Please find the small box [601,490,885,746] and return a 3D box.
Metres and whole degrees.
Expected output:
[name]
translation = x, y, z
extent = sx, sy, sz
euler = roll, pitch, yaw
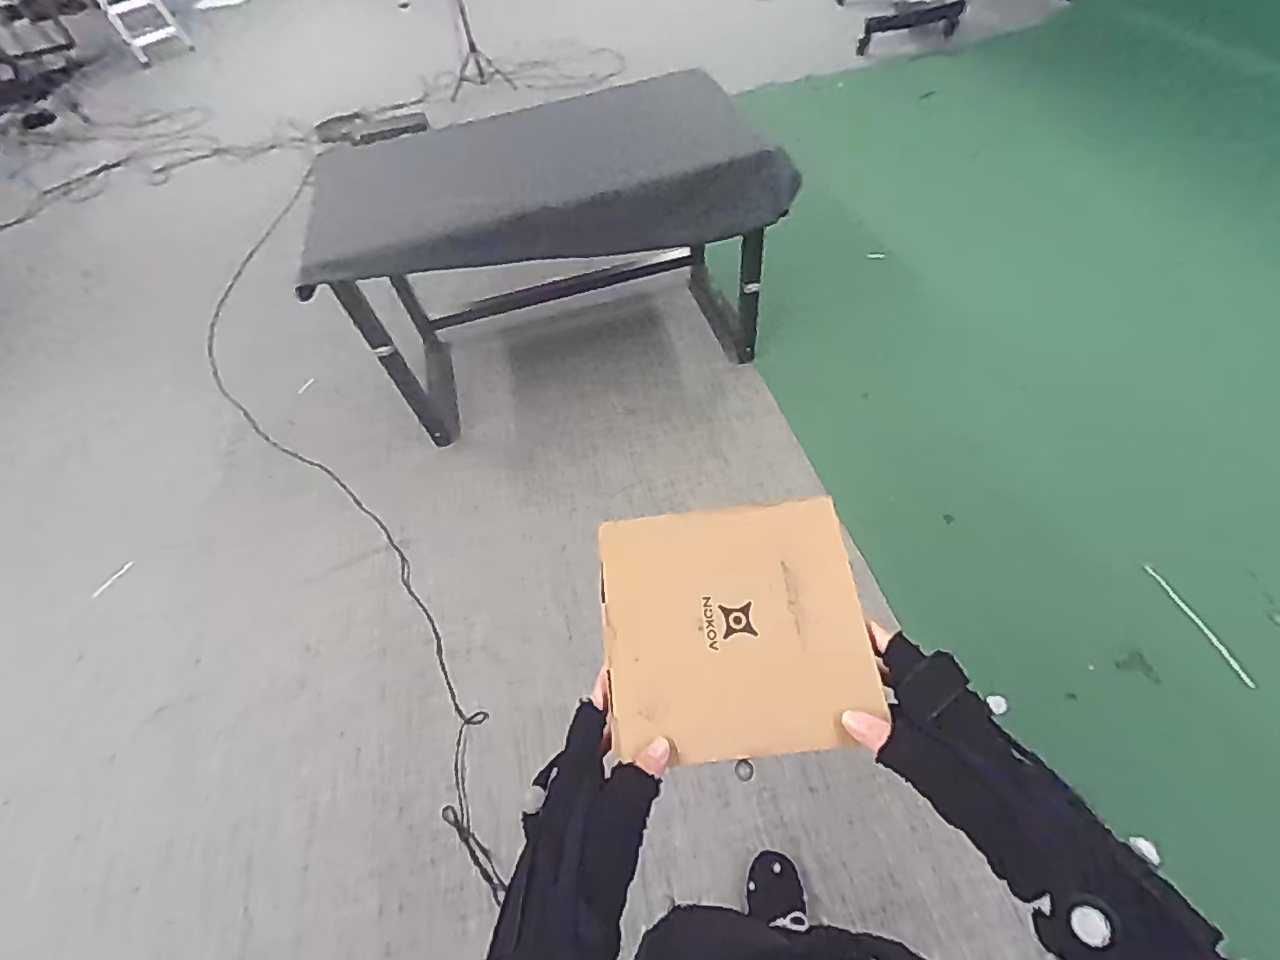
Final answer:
[small box]
translation = 0.069, 0.124, 0.453
extent = 0.179, 0.176, 0.168
euler = -7, 65, -1
